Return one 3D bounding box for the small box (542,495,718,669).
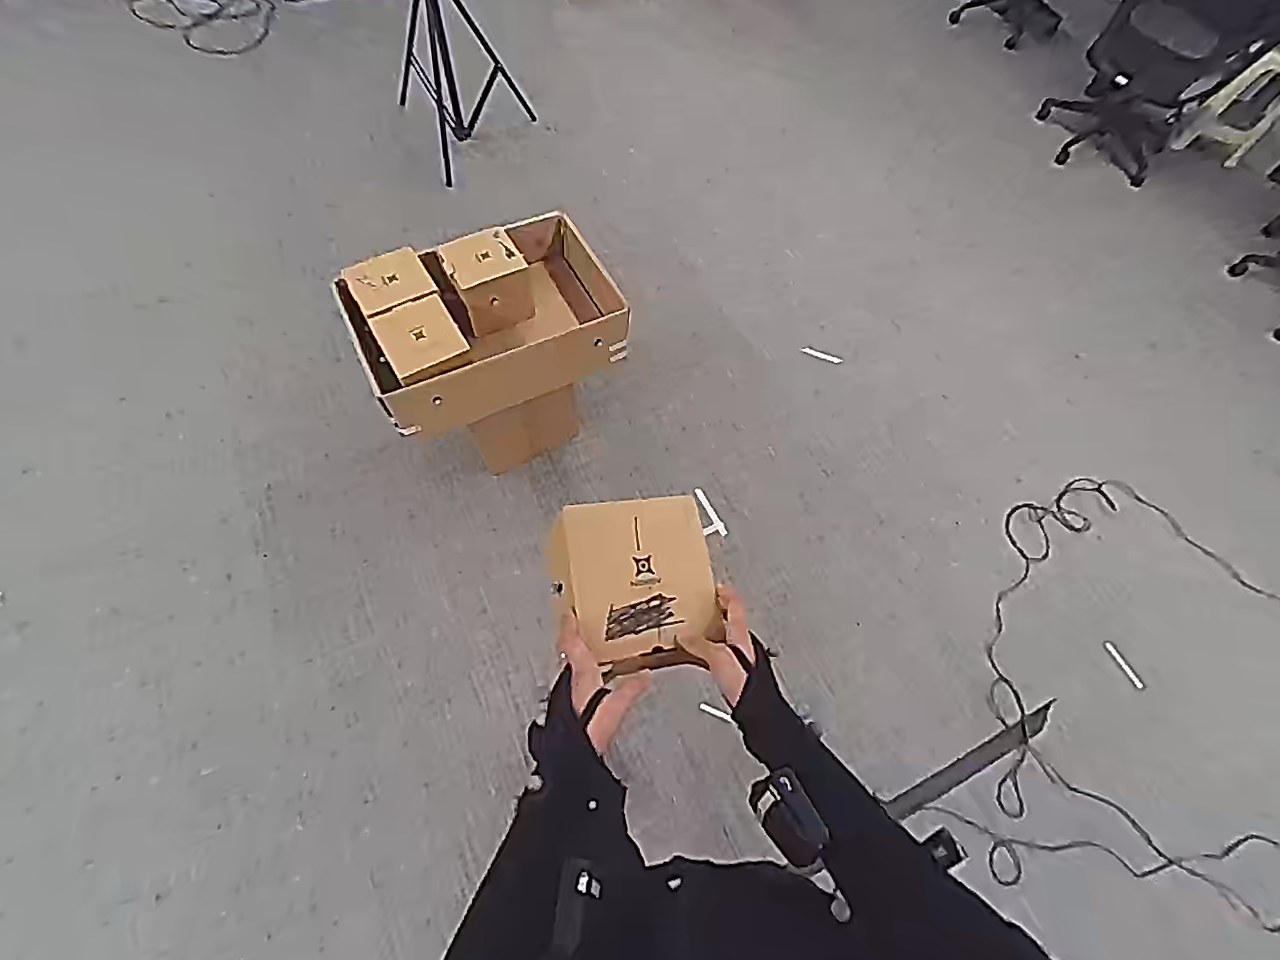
[{"bbox_3d":[-0.025,0.132,0.672,0.168,0.176,0.179,-4,69,-18],"label":"small box"}]
